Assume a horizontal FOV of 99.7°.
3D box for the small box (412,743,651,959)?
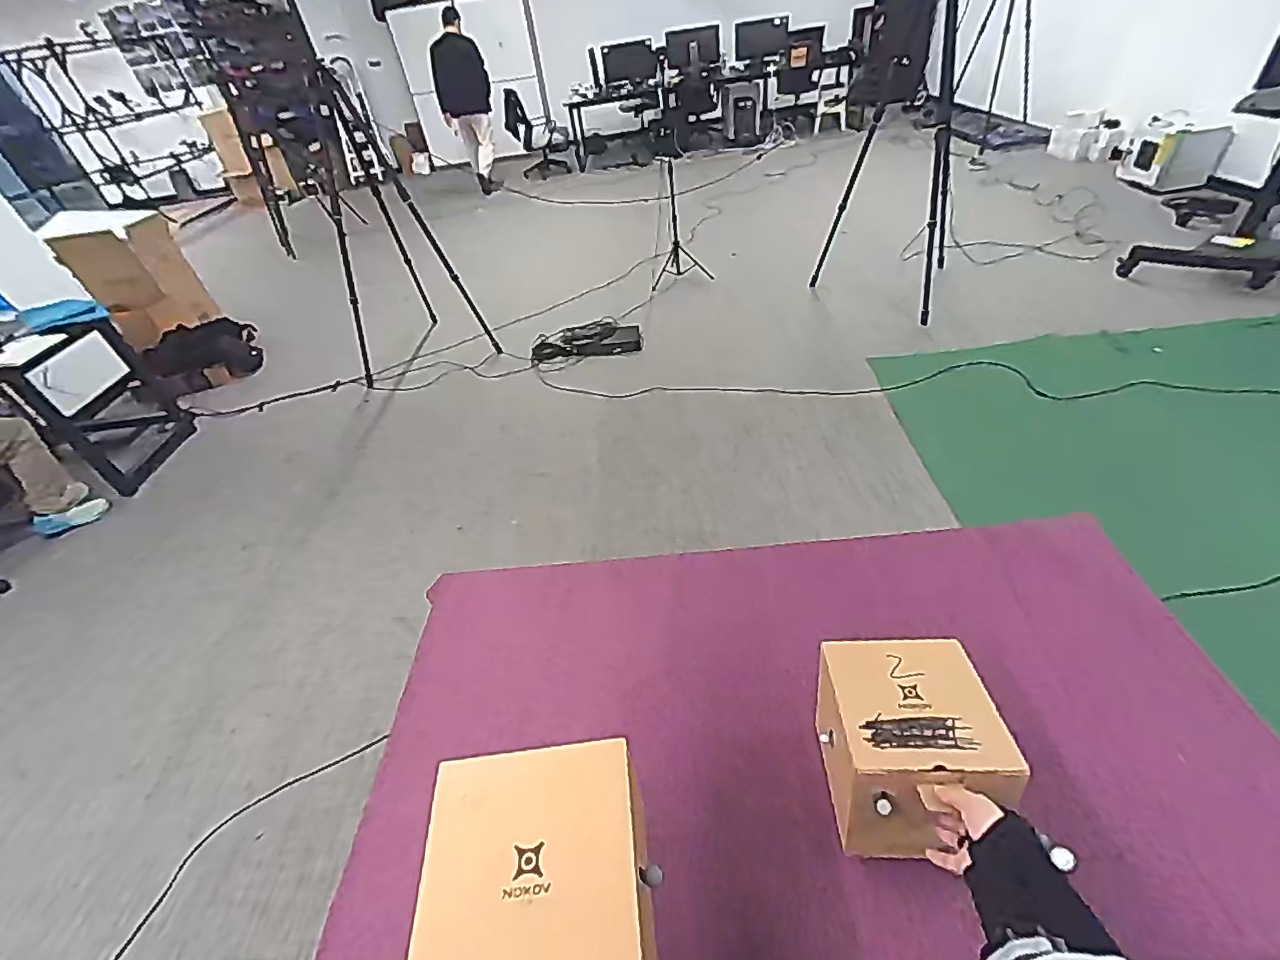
[{"bbox_3d":[-0.081,0.362,0.478,0.168,0.176,0.179,-7,44,-1],"label":"small box"}]
